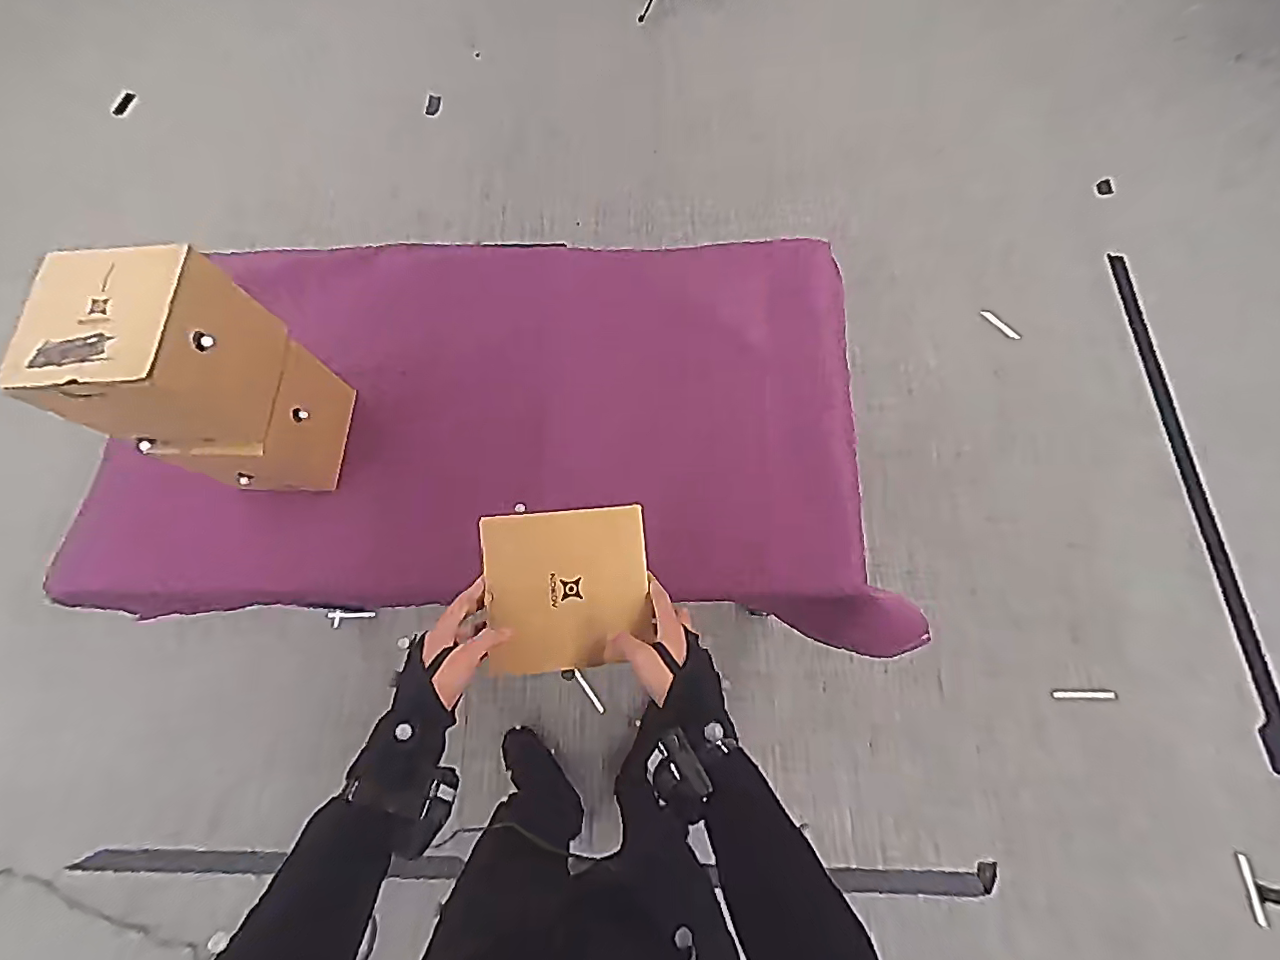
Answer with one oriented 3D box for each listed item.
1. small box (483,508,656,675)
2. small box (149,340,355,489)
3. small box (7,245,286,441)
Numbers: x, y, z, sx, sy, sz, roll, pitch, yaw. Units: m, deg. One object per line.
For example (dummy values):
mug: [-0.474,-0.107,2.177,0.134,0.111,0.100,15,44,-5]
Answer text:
small box: [-0.080,0.125,0.650,0.179,0.176,0.168,-5,82,-3]
small box: [-0.558,-0.091,0.807,0.168,0.176,0.179,2,72,3]
small box: [-0.569,-0.152,0.655,0.168,0.176,0.179,-2,72,2]
